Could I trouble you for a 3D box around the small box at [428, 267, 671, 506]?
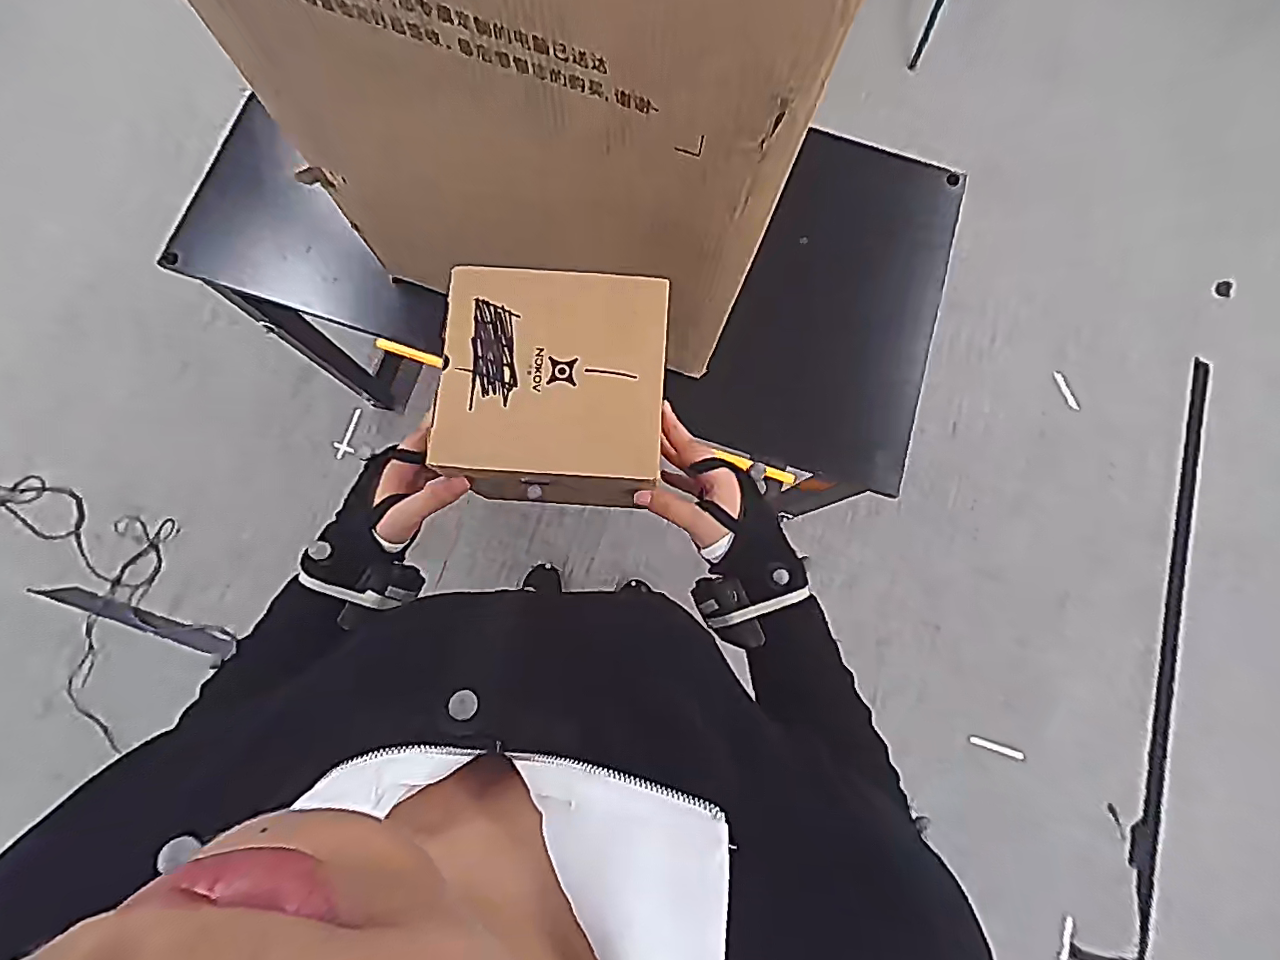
[{"bbox_3d":[-0.067,-0.071,0.494,0.179,0.176,0.168,4,80,-1],"label":"small box"}]
